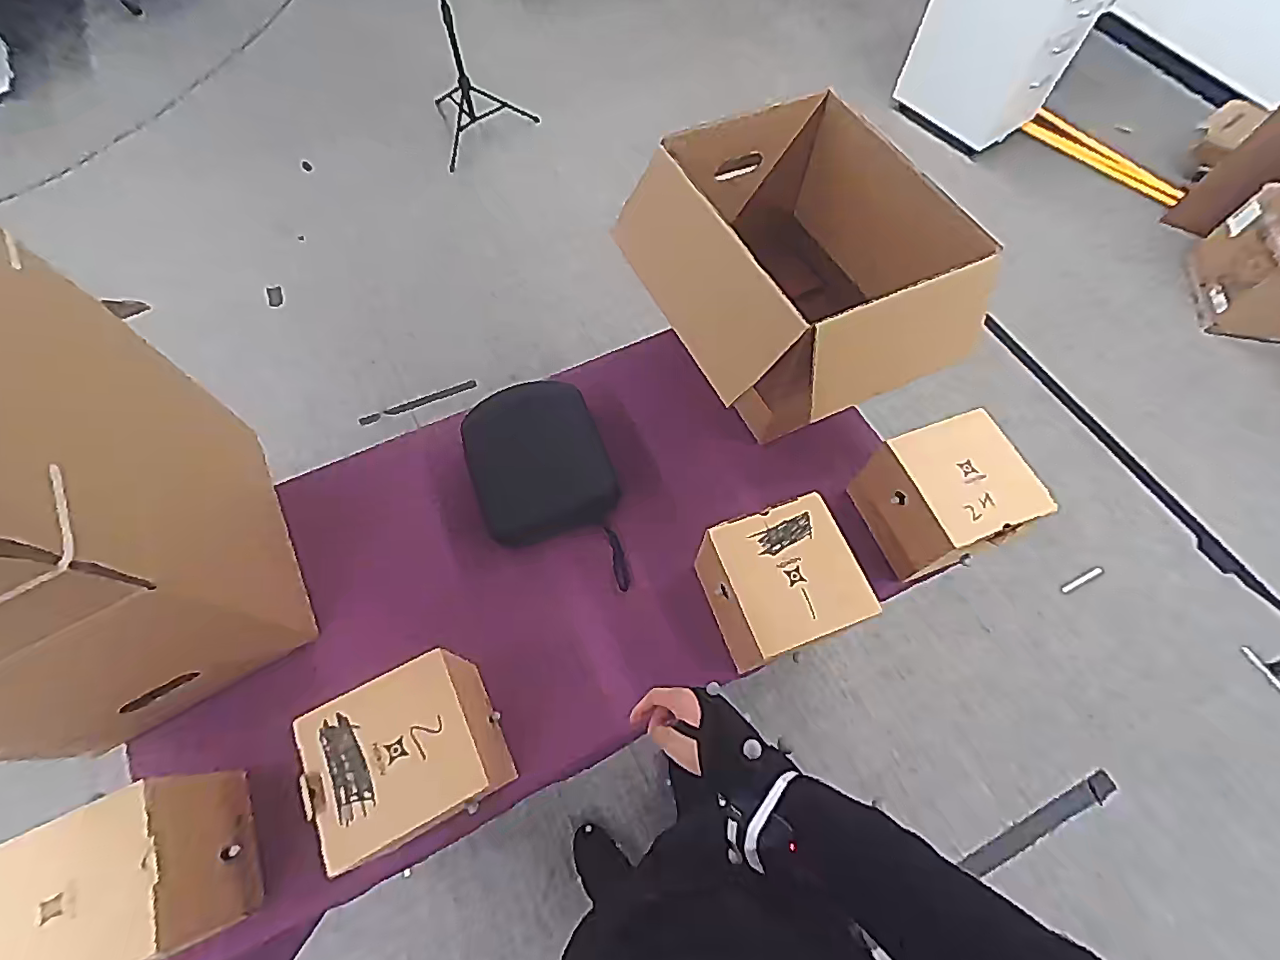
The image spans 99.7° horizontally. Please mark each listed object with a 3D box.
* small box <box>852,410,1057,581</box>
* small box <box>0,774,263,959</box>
[{"bbox_3d":[0.451,0.028,0.812,0.168,0.176,0.179,-18,65,-8],"label":"small box"},{"bbox_3d":[-0.572,0.454,0.606,0.179,0.176,0.168,-23,67,-12],"label":"small box"}]
